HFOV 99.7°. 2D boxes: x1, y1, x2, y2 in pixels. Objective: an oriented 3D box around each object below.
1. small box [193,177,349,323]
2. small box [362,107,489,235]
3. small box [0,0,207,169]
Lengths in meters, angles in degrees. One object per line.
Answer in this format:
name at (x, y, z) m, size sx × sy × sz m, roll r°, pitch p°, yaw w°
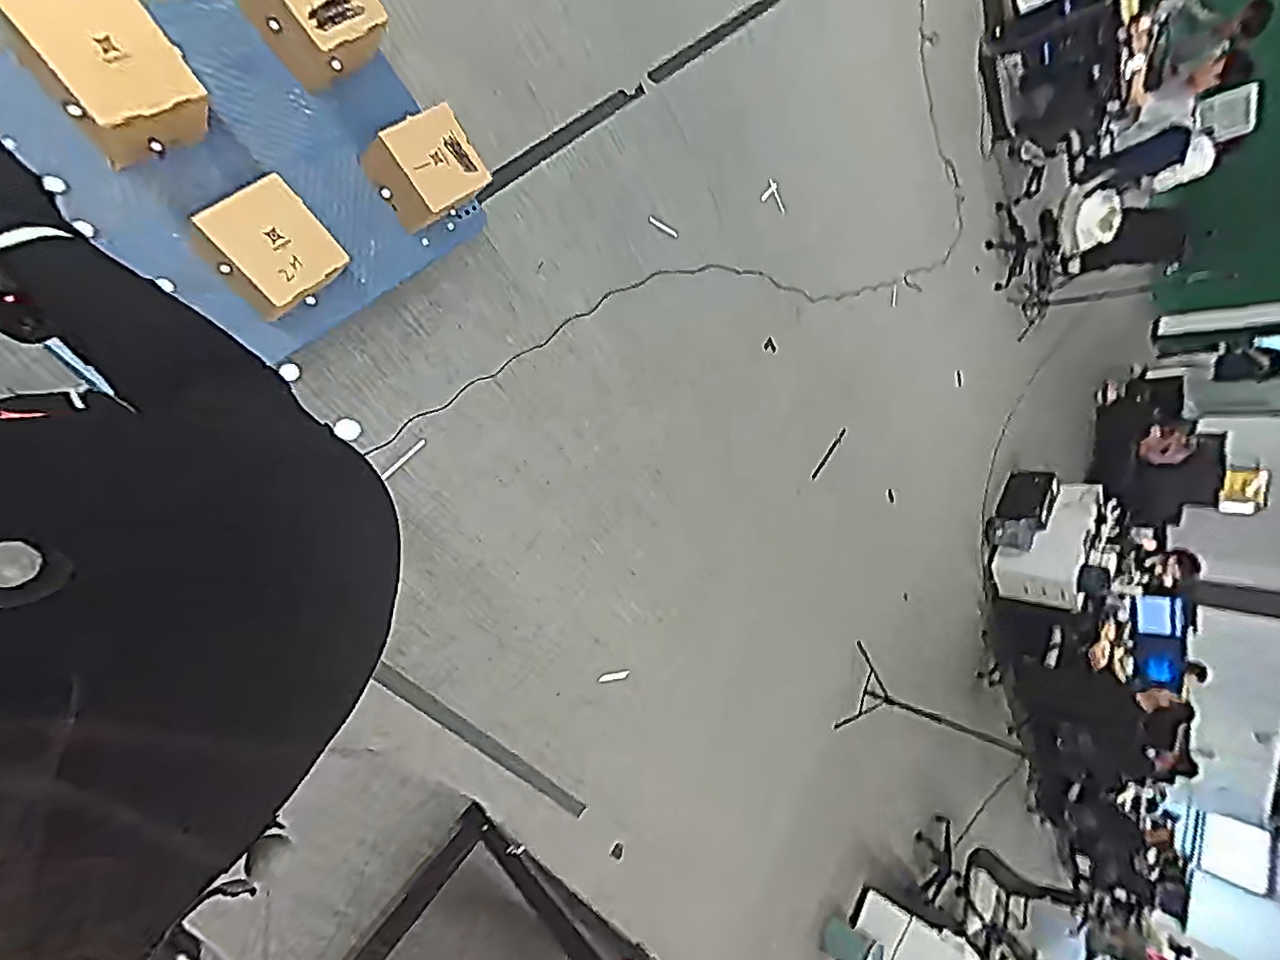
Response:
small box at (-0.699, -0.425, 1.024) m, size 0.168 × 0.176 × 0.179 m, roll -51°, pitch 122°, yaw -25°
small box at (-0.476, -0.674, 1.194) m, size 0.179 × 0.176 × 0.168 m, roll -48°, pitch 121°, yaw -26°
small box at (-0.857, -0.648, 0.877) m, size 0.168 × 0.176 × 0.179 m, roll -47°, pitch 123°, yaw -28°
